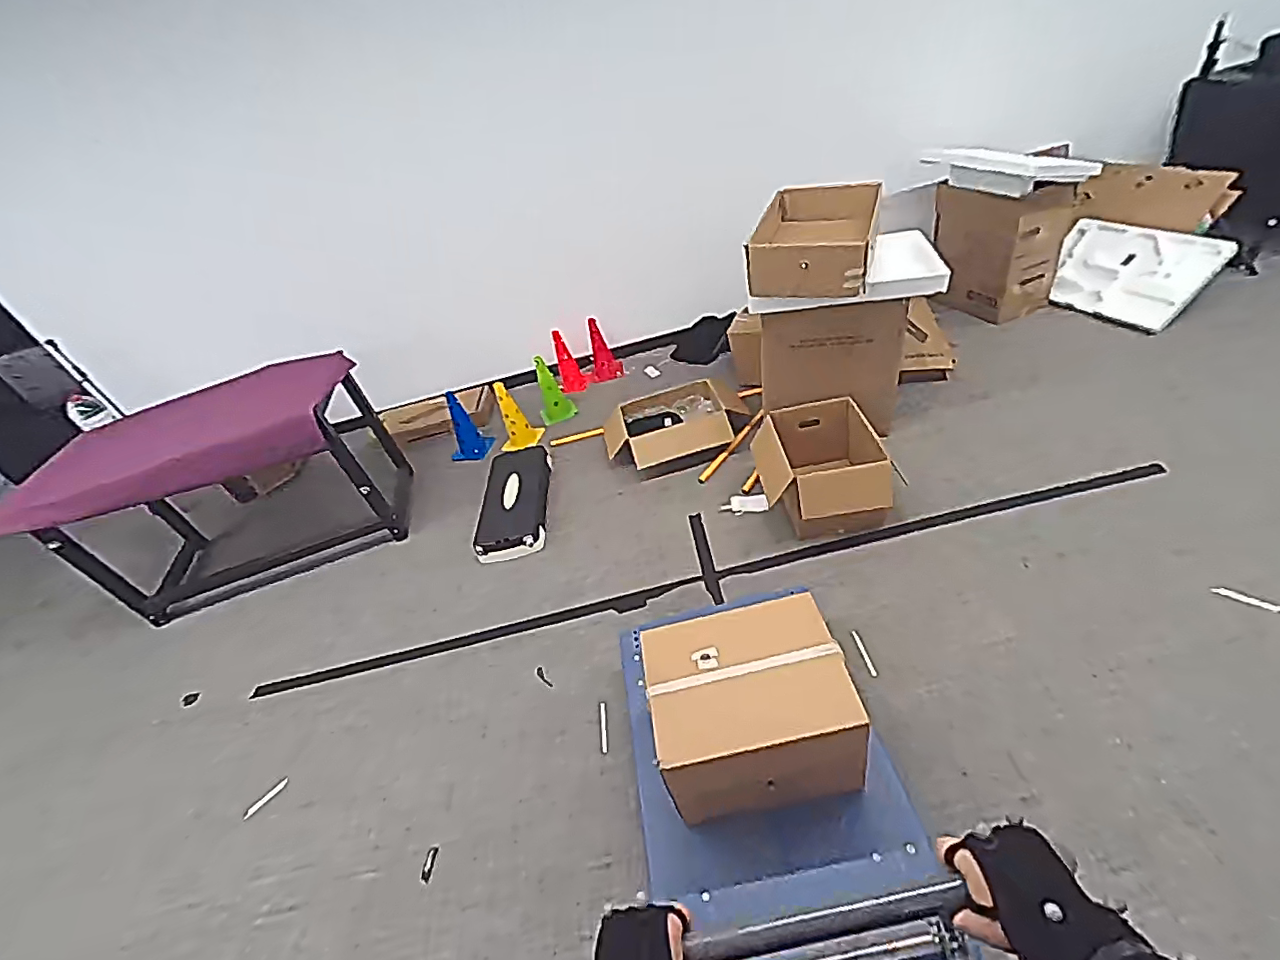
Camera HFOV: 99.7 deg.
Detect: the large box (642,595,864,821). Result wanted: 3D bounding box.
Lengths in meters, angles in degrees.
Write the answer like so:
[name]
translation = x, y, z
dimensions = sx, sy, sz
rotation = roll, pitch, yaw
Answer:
[large box]
translation = 0.249, 0.521, 1.235
dimensions = 0.408, 0.320, 0.320
rotation = -15, 38, 3
